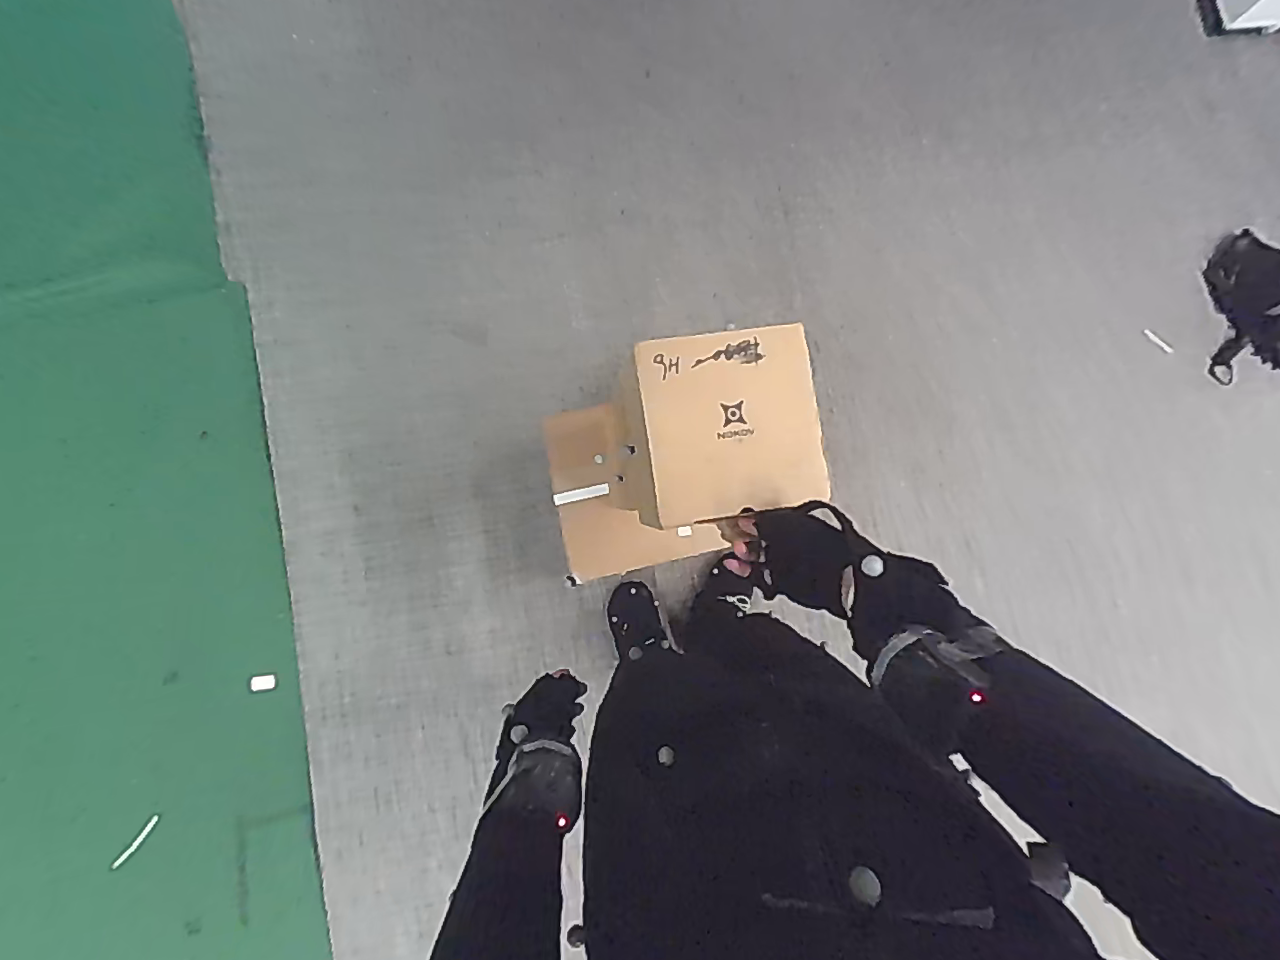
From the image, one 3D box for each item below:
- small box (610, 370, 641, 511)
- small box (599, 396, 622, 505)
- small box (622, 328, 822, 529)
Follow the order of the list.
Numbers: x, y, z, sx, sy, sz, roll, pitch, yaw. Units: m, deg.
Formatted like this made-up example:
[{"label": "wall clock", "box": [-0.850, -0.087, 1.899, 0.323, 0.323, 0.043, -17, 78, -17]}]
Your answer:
[{"label": "small box", "box": [0.050, -0.051, 0.749, 0.168, 0.176, 0.179, -5, 87, -7]}, {"label": "small box", "box": [0.027, -0.048, 0.907, 0.179, 0.176, 0.168, -5, 86, -6]}, {"label": "small box", "box": [0.076, -0.048, 0.587, 0.168, 0.176, 0.179, -8, 89, -7]}]
